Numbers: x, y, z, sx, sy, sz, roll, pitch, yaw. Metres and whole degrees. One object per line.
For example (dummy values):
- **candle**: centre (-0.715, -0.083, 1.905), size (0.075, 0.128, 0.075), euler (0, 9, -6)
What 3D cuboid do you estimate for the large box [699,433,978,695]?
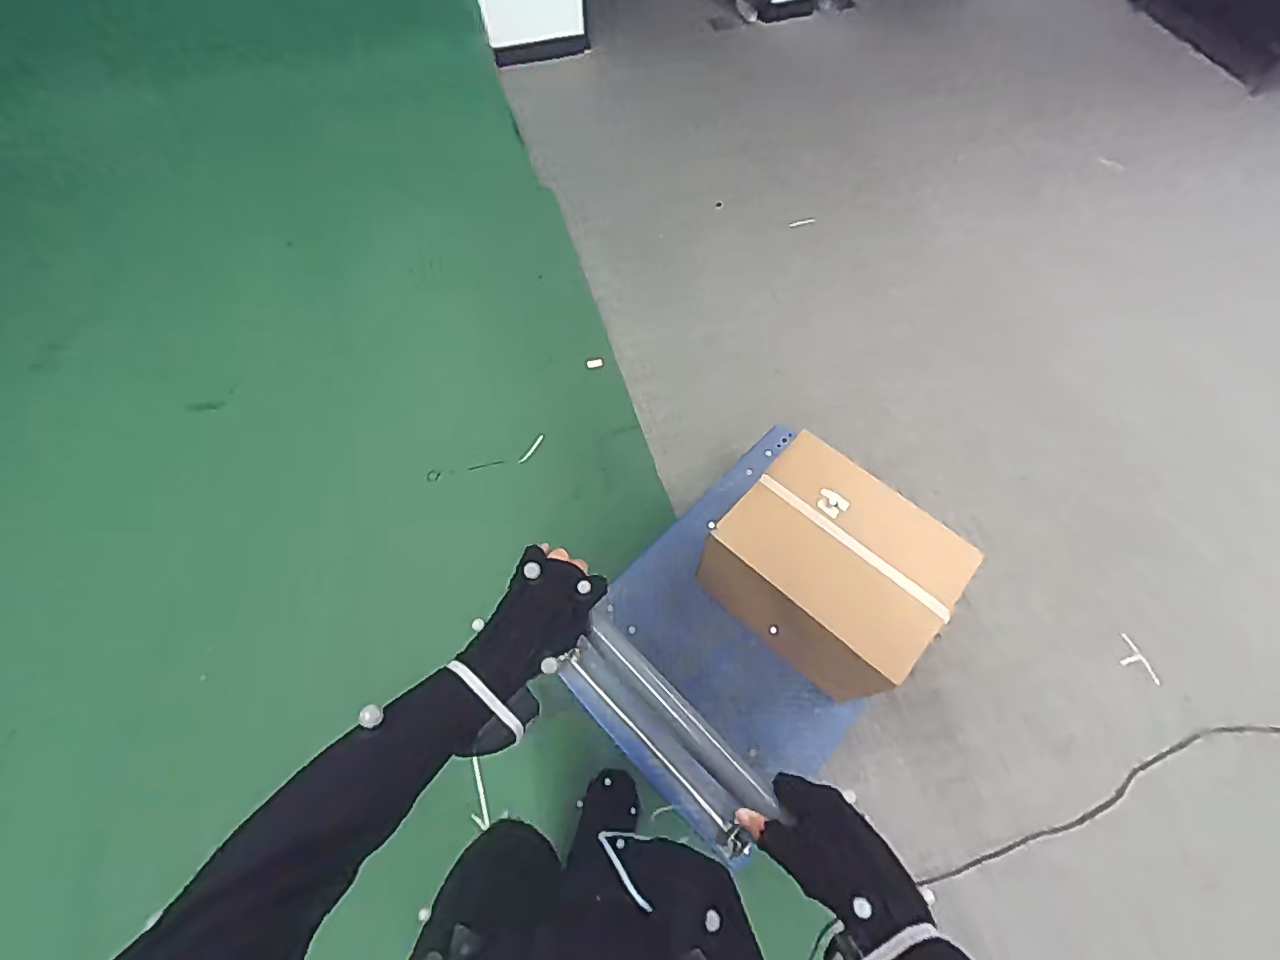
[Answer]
- **large box**: centre (0.381, 0.184, 1.139), size (0.408, 0.320, 0.320), euler (39, 69, 18)
